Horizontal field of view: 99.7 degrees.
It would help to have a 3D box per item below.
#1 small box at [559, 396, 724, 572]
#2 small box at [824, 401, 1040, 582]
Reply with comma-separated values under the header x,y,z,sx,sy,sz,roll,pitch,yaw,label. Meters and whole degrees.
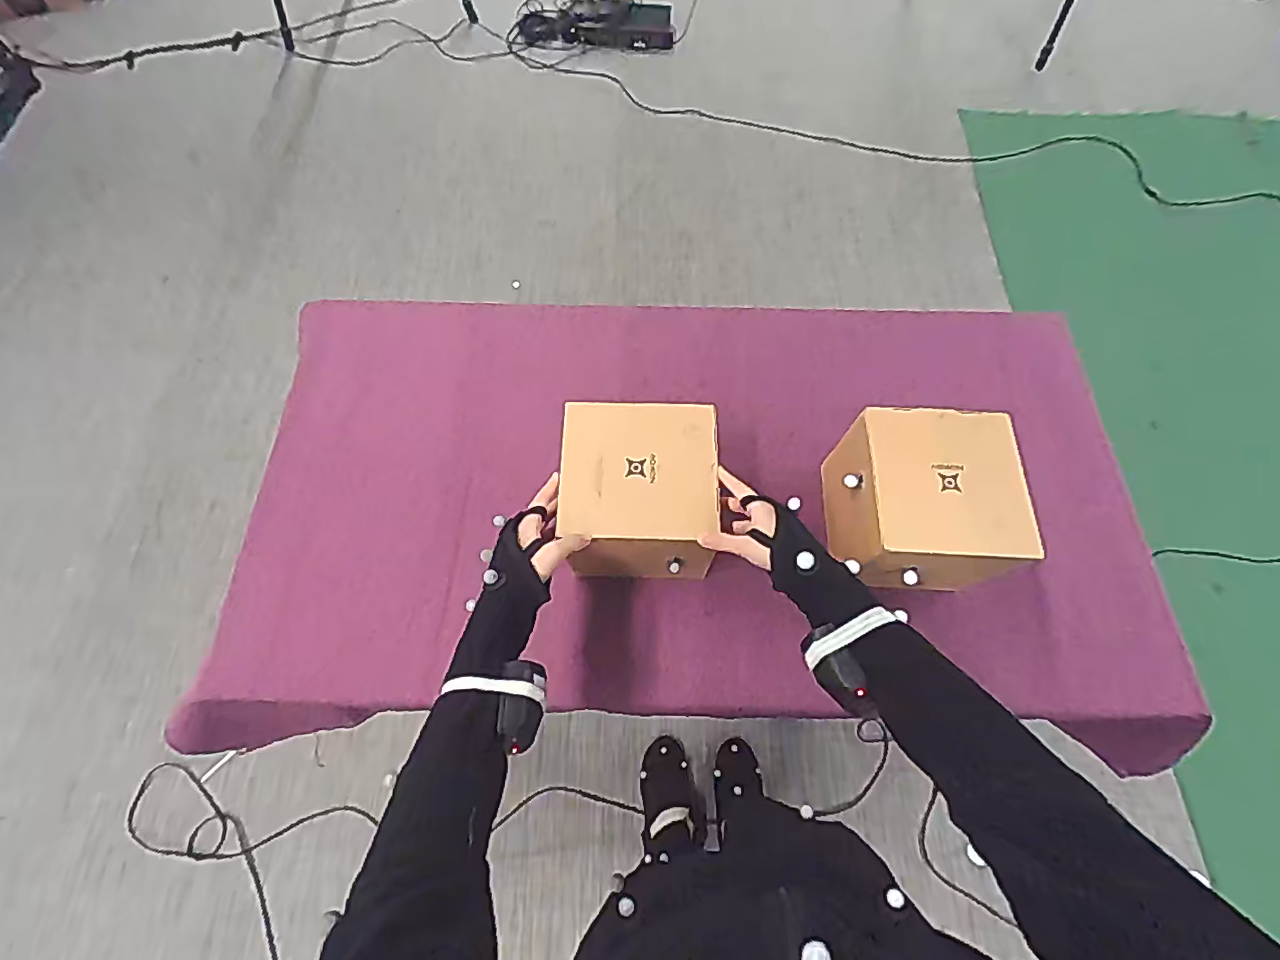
x,y,z,sx,sy,sz,roll,pitch,yaw,label
0.003,0.012,0.669,0.179,0.176,0.168,1,66,1,small box
0.338,0.023,0.667,0.168,0.176,0.179,2,66,1,small box
